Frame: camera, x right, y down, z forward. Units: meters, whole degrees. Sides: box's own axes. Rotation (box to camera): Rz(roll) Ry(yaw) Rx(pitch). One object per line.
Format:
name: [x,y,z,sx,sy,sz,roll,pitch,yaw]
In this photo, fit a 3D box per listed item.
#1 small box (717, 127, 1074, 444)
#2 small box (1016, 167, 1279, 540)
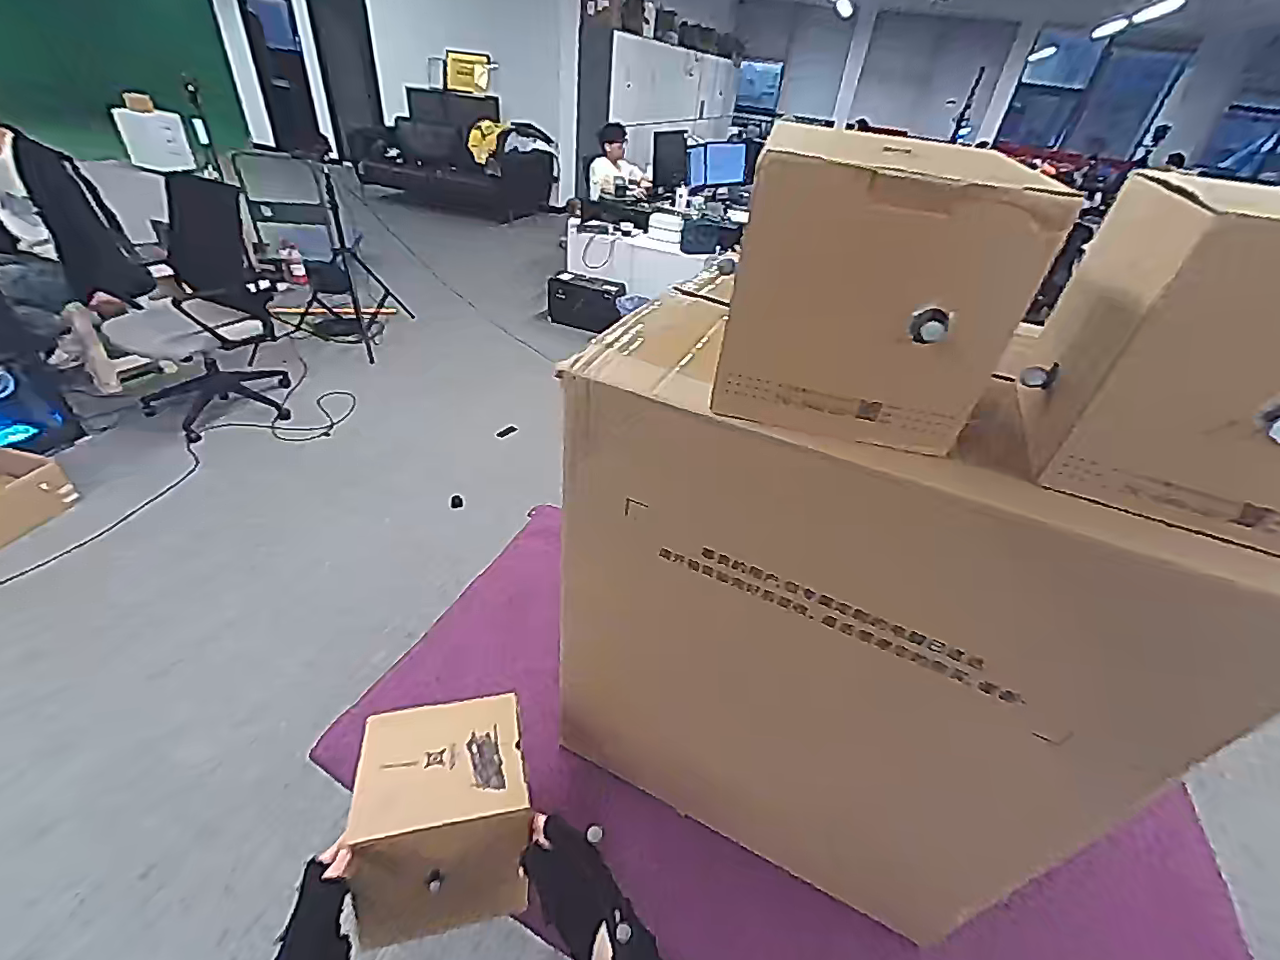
small box: [0.157,-0.147,0.402,0.168,0.176,0.179,13,37,6]
small box: [0.375,-0.086,0.348,0.168,0.176,0.179,20,40,17]
